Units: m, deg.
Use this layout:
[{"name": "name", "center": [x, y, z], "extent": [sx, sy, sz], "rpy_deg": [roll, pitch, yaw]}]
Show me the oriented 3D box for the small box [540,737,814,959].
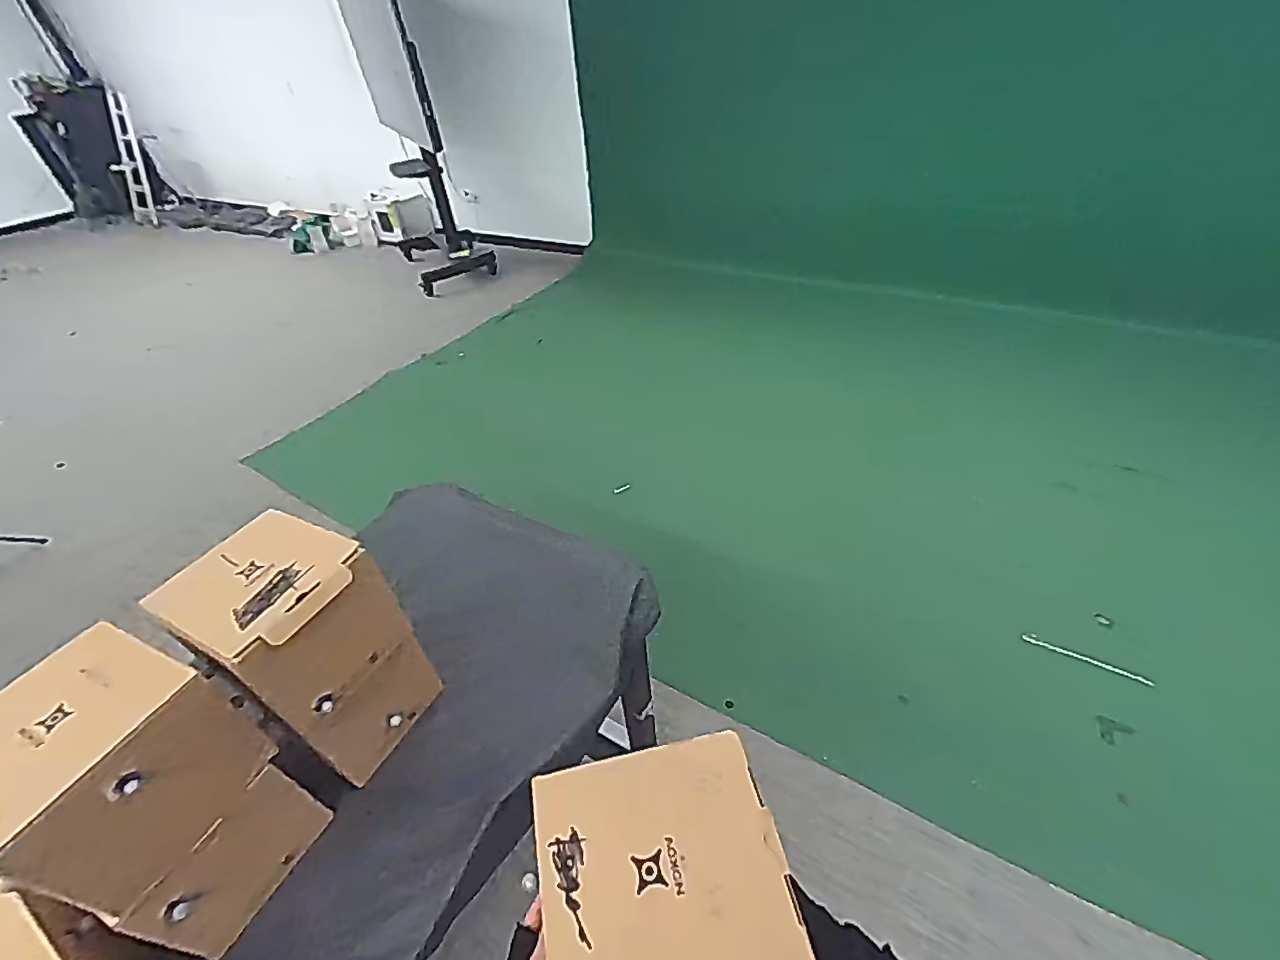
[{"name": "small box", "center": [0.017, 0.342, 0.448], "extent": [0.179, 0.176, 0.168], "rpy_deg": [-8, 44, -8]}]
